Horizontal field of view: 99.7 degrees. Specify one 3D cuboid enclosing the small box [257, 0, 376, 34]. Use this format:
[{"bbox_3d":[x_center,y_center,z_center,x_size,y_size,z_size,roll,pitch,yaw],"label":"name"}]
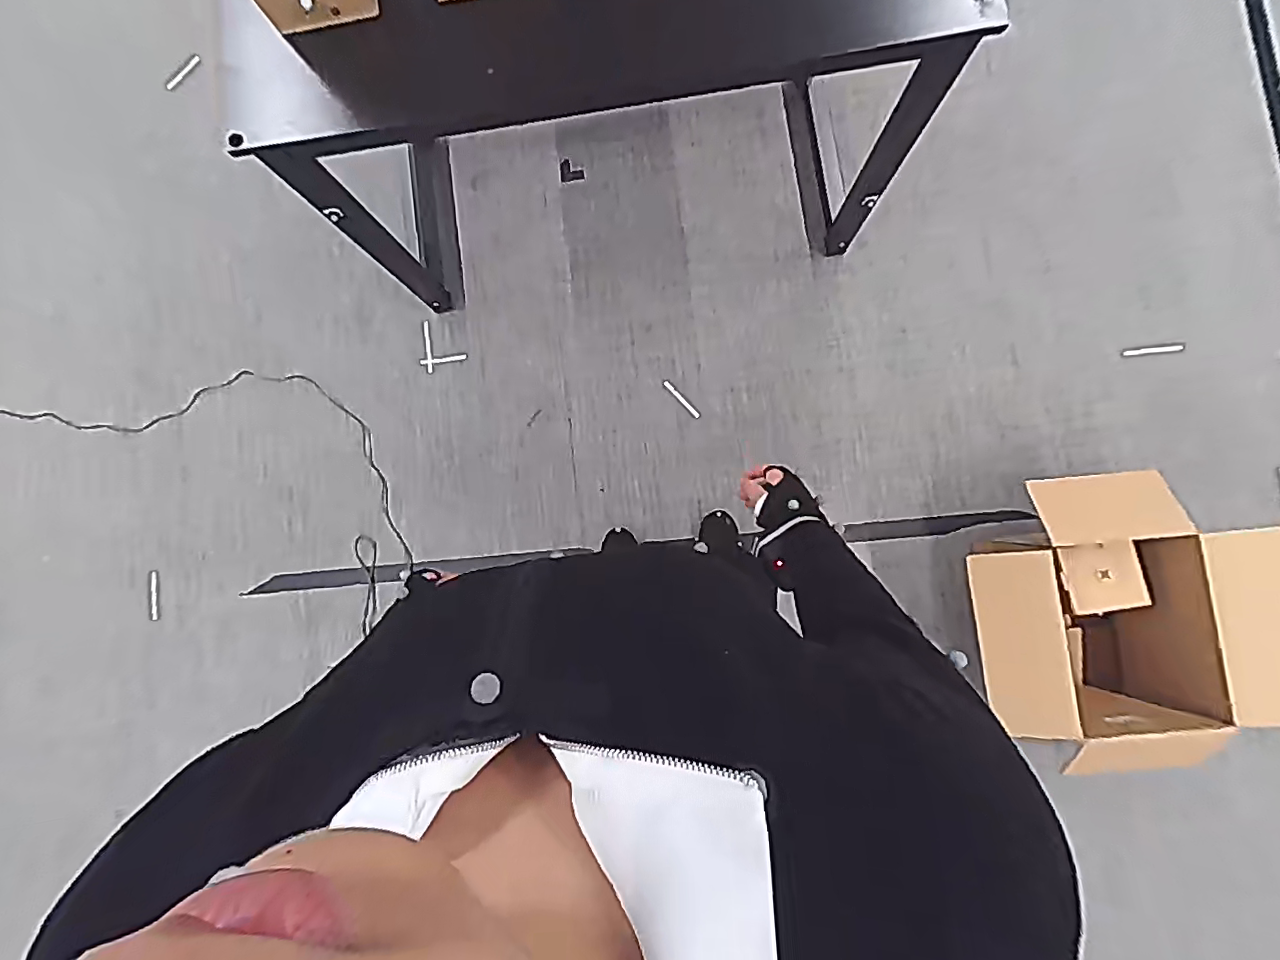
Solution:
[{"bbox_3d":[-0.514,-0.812,0.789,0.168,0.176,0.179,-9,86,2],"label":"small box"}]
